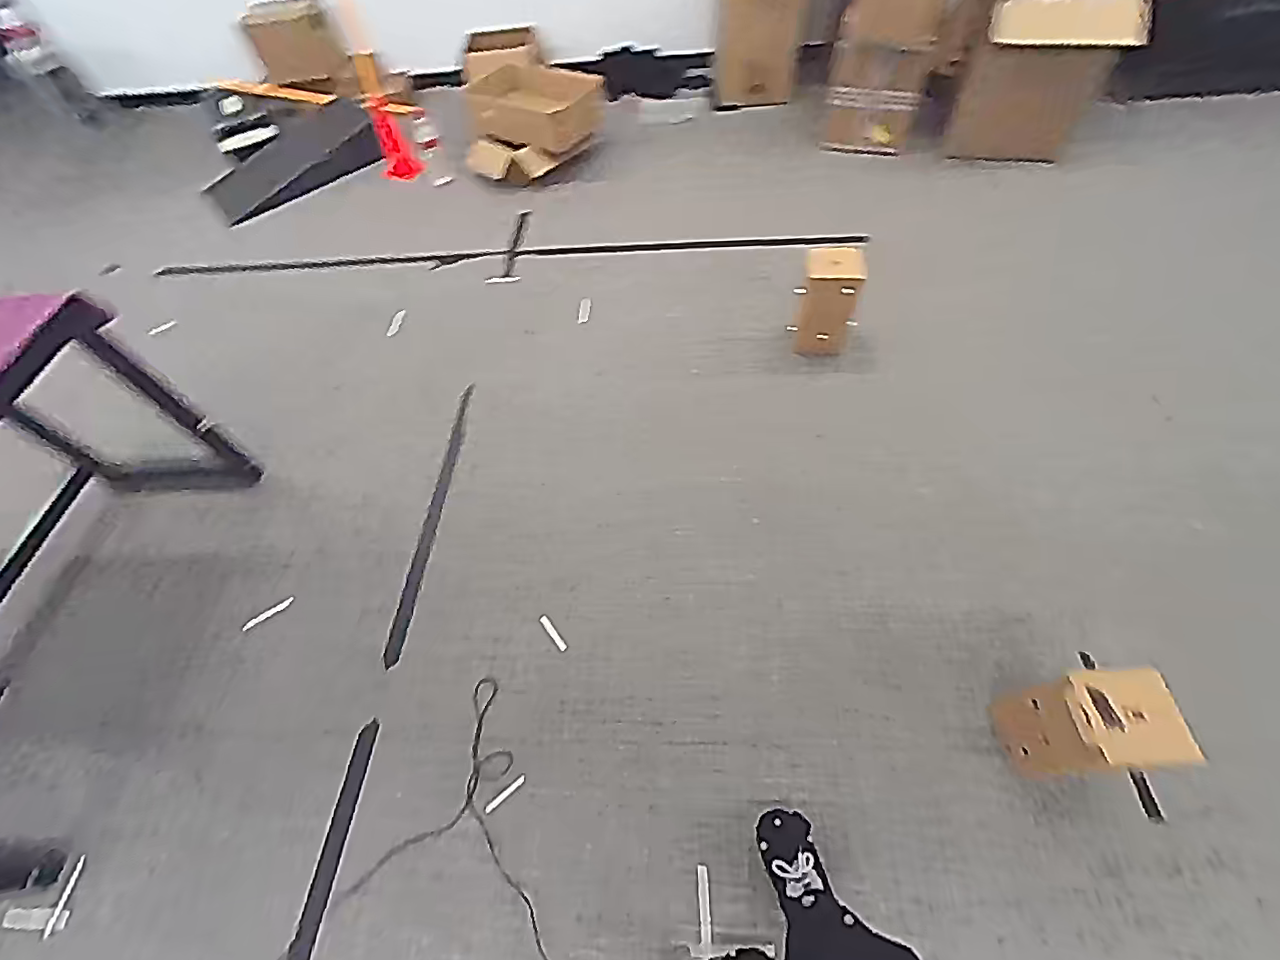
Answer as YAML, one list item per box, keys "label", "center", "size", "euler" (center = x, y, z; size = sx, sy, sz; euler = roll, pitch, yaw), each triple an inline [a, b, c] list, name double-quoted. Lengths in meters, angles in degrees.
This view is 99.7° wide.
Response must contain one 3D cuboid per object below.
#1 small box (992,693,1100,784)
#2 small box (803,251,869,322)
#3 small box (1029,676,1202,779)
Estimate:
- label: "small box"
  center: [0.931, 0.581, 1.214]
  size: [0.179, 0.176, 0.168]
  euler: [-3, 57, 1]
- label: "small box"
  center: [0.668, -0.662, 1.860]
  size: [0.179, 0.176, 0.168]
  euler: [3, 56, 8]
- label: "small box"
  center: [0.919, 0.495, 1.074]
  size: [0.179, 0.176, 0.168]
  euler: [-3, 57, 2]
